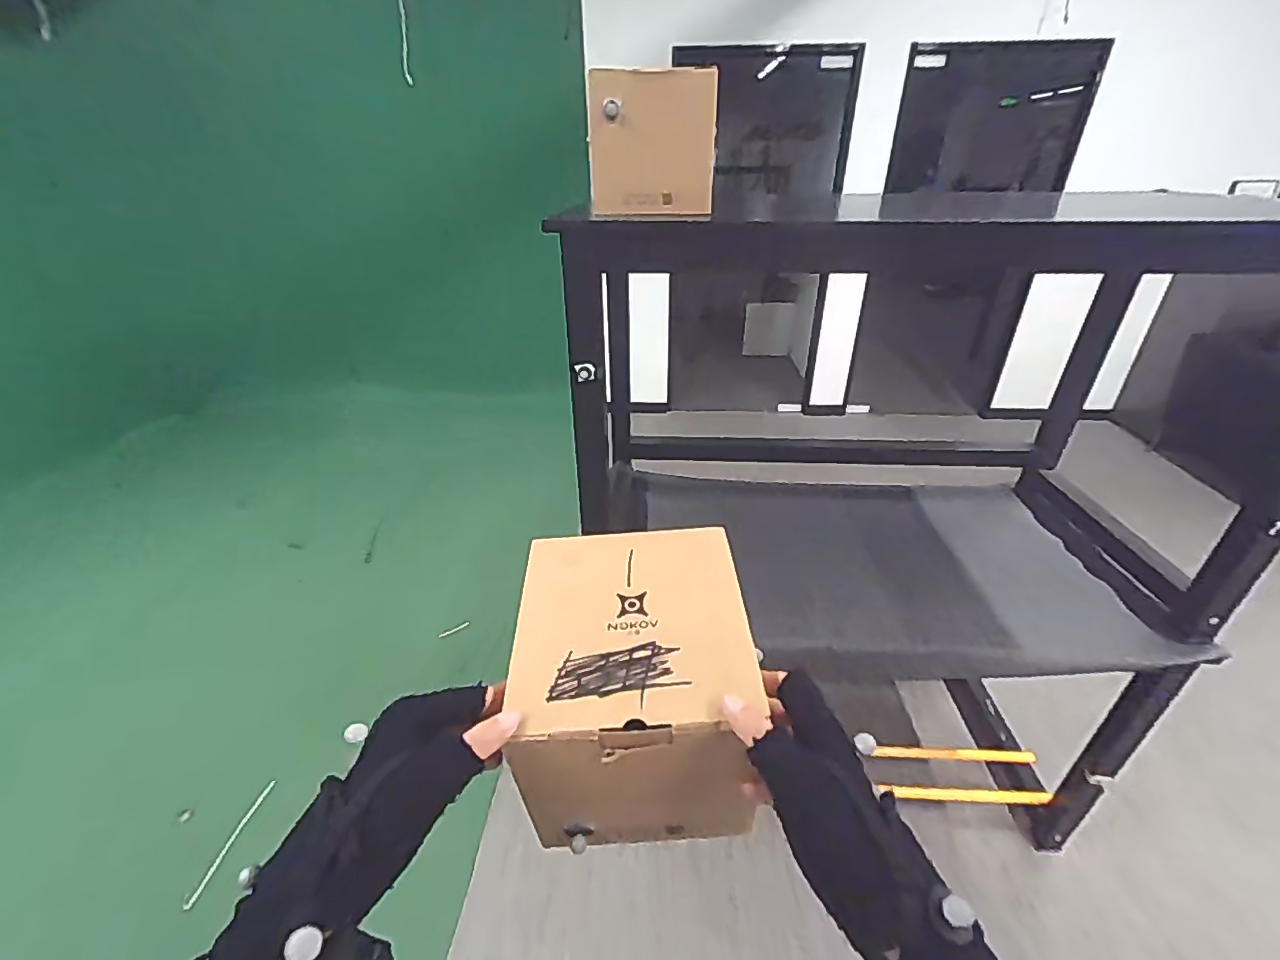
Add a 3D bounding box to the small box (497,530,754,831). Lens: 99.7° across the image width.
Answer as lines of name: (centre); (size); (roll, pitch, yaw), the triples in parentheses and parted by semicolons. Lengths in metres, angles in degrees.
small box: (-0.005, 0.165, 0.447); (0.168, 0.176, 0.179); (-4, 35, 0)
